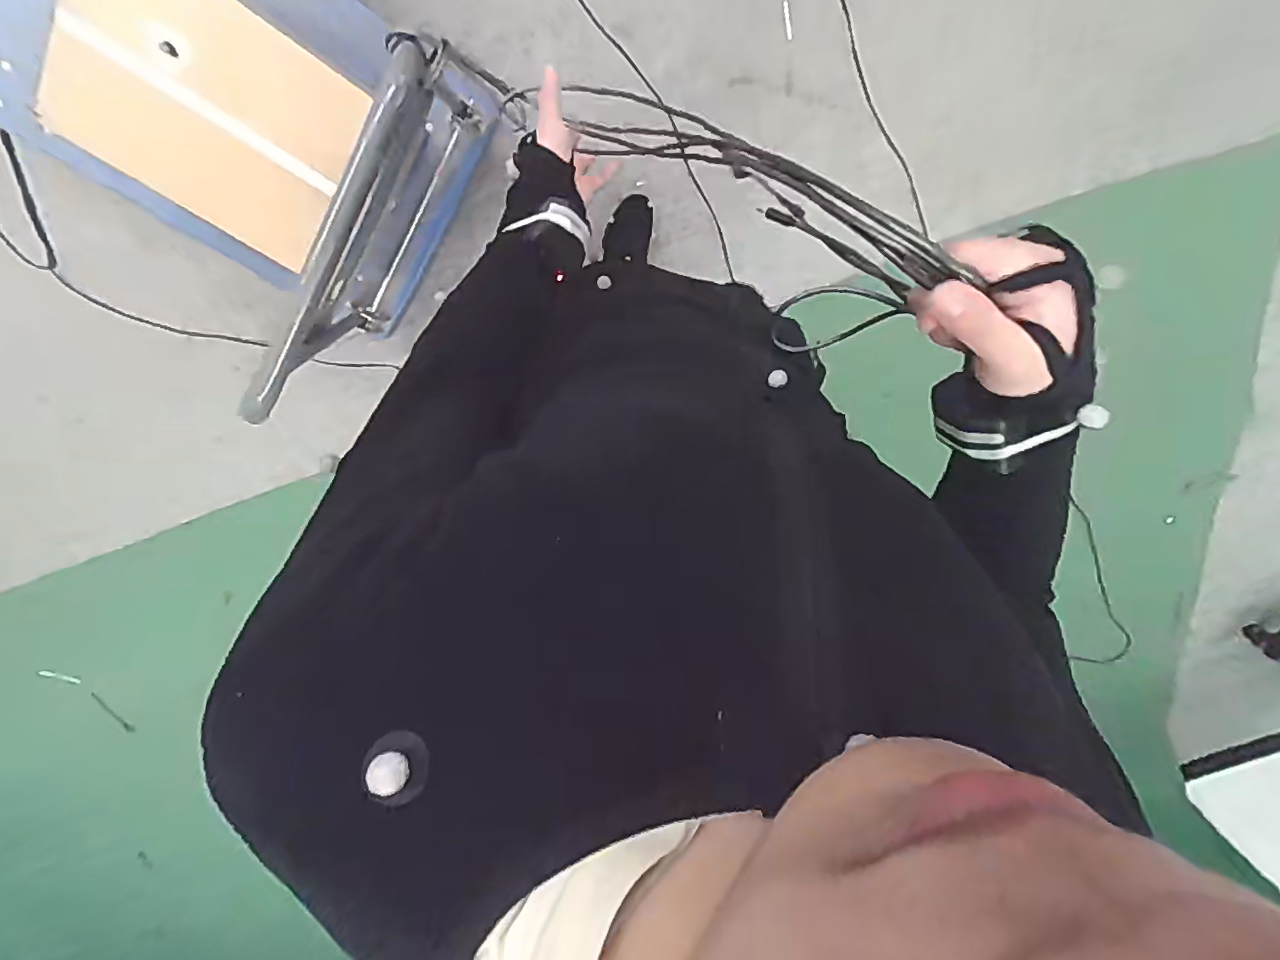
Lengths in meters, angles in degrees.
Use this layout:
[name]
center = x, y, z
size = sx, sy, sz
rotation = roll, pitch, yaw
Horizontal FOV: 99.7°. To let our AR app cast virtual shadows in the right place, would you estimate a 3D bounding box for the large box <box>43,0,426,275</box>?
[large box]
center = -0.663, -0.622, 0.957
size = 0.408, 0.320, 0.320
rotation = 30, 108, -19
